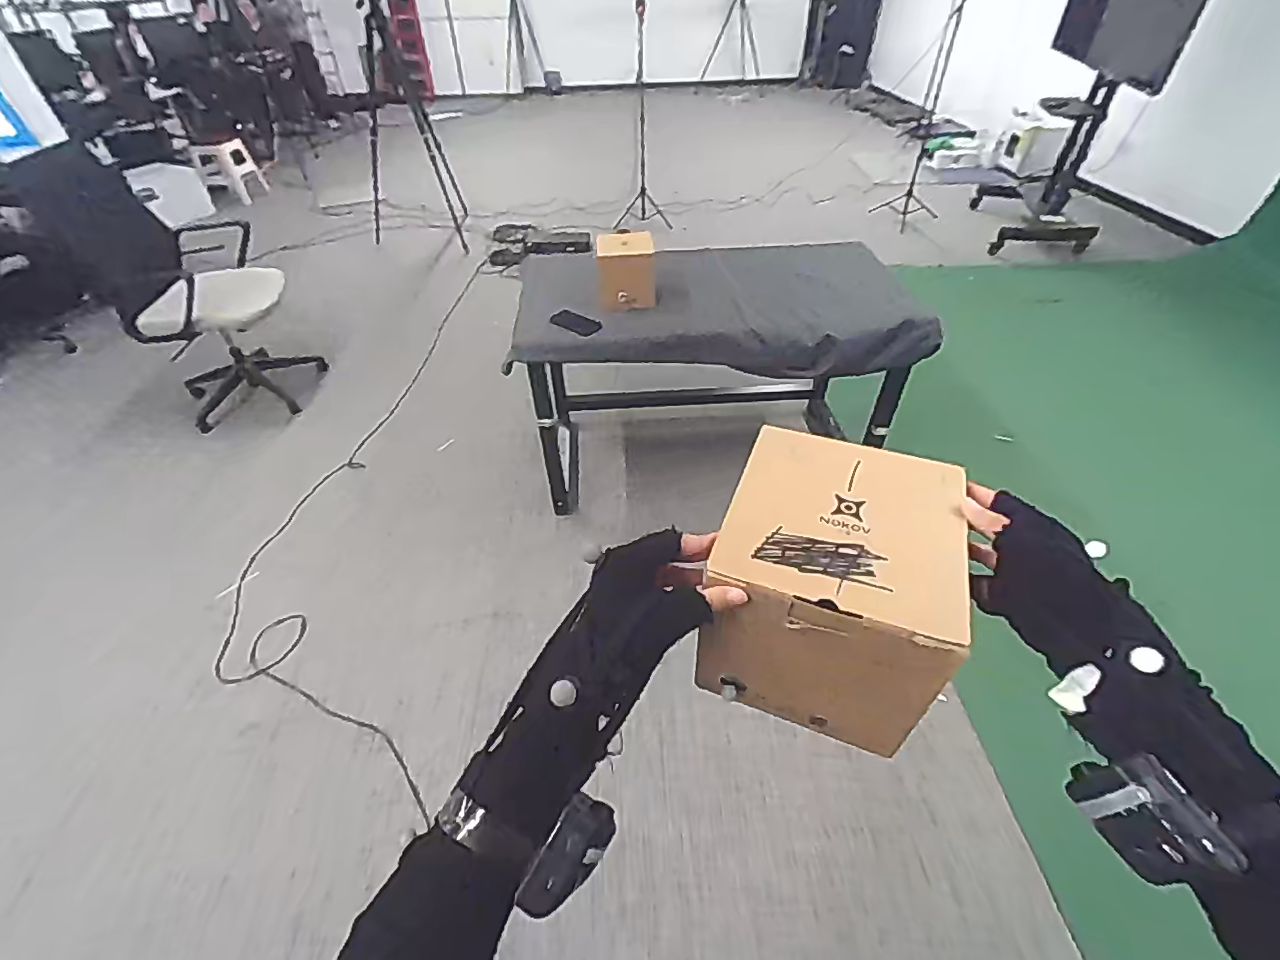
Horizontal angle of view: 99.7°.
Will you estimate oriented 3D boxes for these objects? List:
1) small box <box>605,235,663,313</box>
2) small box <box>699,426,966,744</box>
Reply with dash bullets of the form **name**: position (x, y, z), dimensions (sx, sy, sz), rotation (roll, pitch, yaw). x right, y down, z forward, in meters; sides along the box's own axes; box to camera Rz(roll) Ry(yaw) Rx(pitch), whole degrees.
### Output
- **small box**: position (-0.019, -0.625, 1.641), dimensions (0.168, 0.176, 0.179), rotation (-4, 44, -1)
- **small box**: position (0.153, 0.084, 0.452), dimensions (0.168, 0.176, 0.179), rotation (15, 45, 18)
